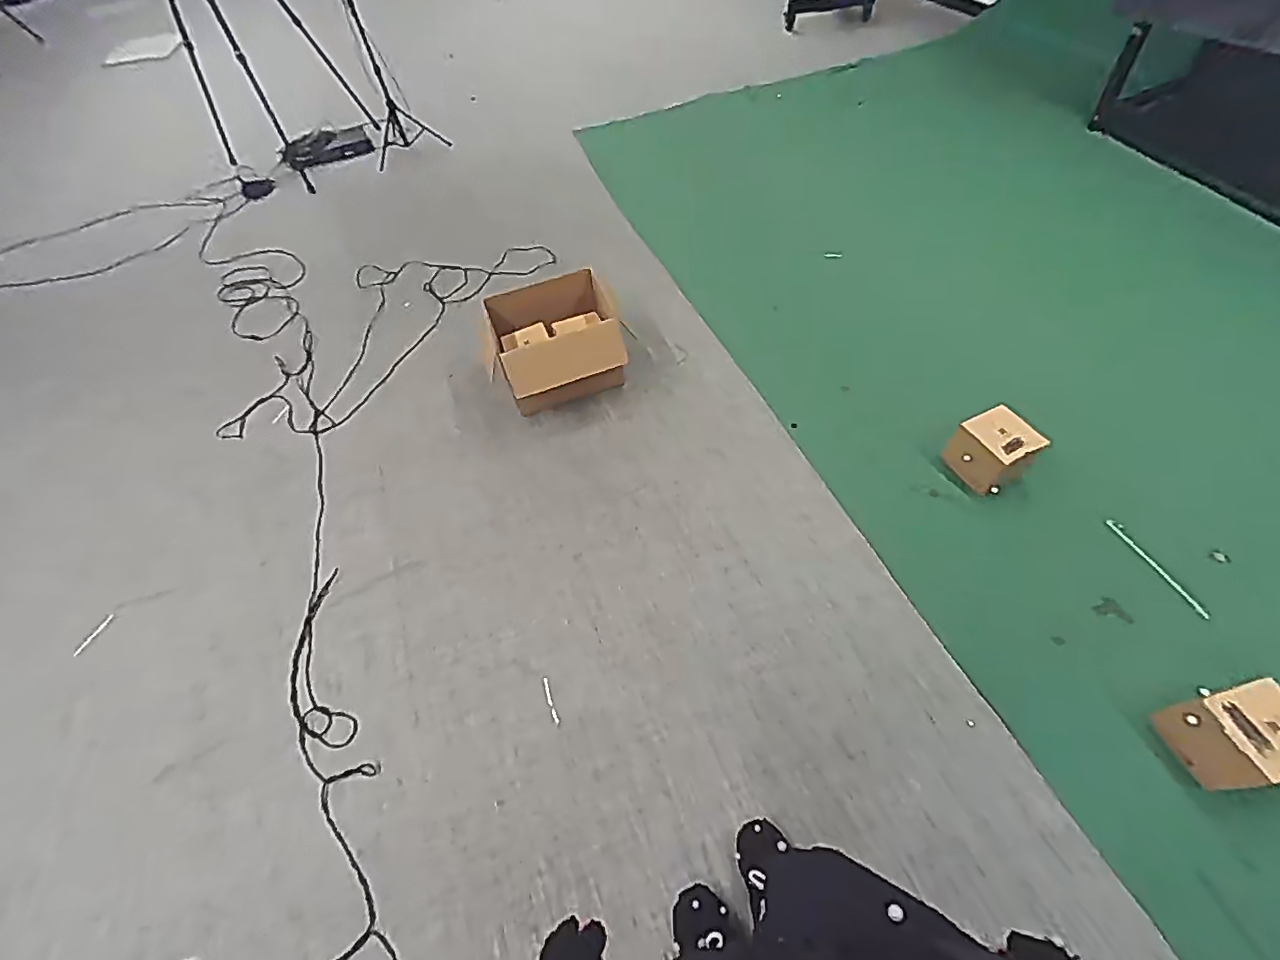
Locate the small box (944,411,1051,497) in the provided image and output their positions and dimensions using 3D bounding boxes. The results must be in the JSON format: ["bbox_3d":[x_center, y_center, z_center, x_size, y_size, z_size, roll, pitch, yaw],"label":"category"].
[{"bbox_3d":[1.065,-0.070,1.628,0.168,0.176,0.179,-22,55,-10],"label":"small box"}]
